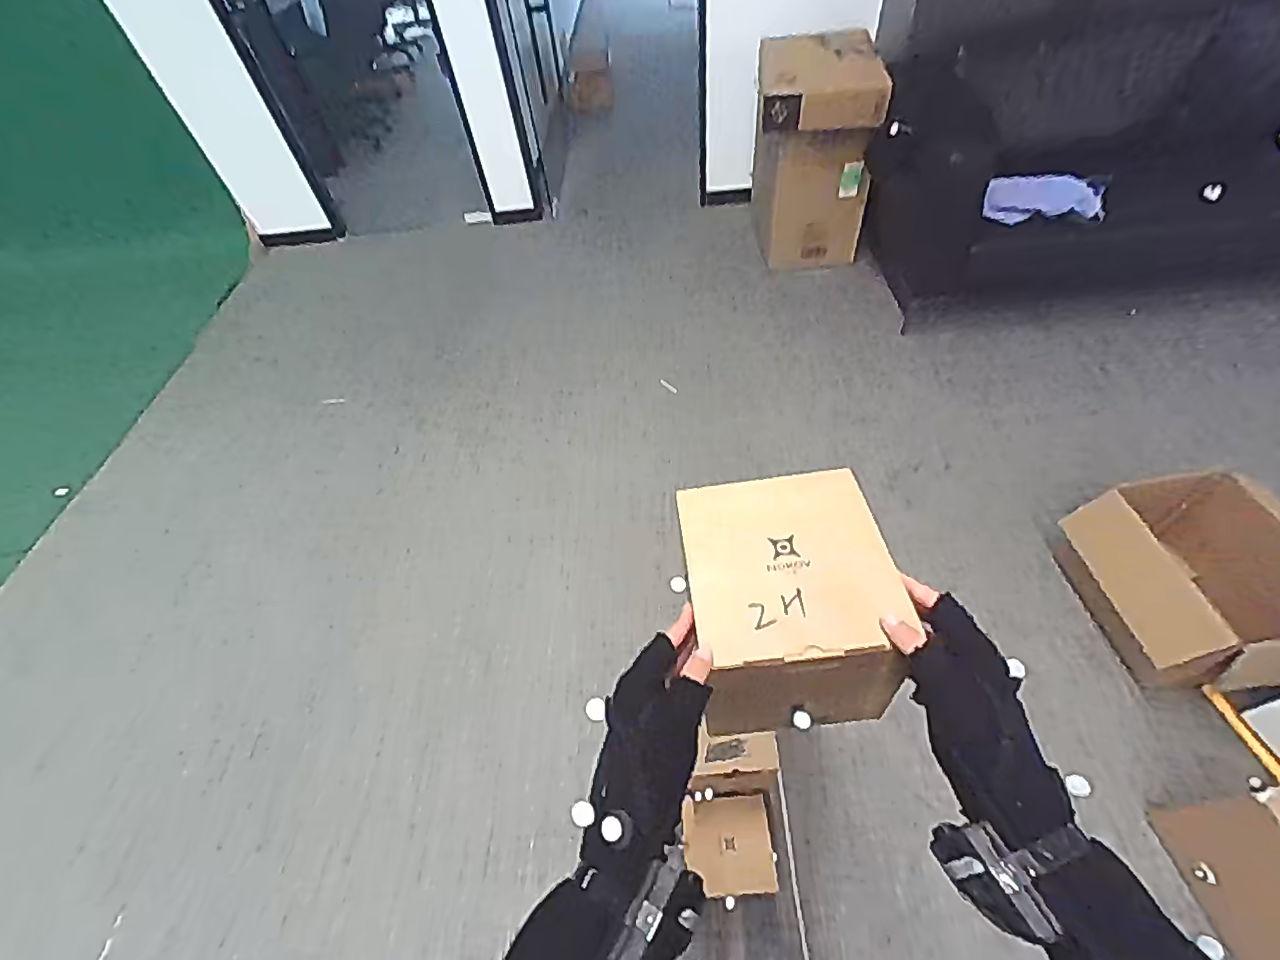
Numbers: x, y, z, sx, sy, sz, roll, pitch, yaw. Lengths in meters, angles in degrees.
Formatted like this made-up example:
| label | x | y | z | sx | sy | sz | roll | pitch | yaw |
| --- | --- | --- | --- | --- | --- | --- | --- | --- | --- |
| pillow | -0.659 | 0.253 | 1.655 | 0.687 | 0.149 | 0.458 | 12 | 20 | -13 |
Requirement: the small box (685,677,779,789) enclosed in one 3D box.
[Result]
| label | x | y | z | sx | sy | sz | roll | pitch | yaw |
| --- | --- | --- | --- | --- | --- | --- | --- | --- | --- |
| small box | 0.184 | 0.529 | 1.119 | 0.168 | 0.176 | 0.179 | -5 | 50 | 2 |
